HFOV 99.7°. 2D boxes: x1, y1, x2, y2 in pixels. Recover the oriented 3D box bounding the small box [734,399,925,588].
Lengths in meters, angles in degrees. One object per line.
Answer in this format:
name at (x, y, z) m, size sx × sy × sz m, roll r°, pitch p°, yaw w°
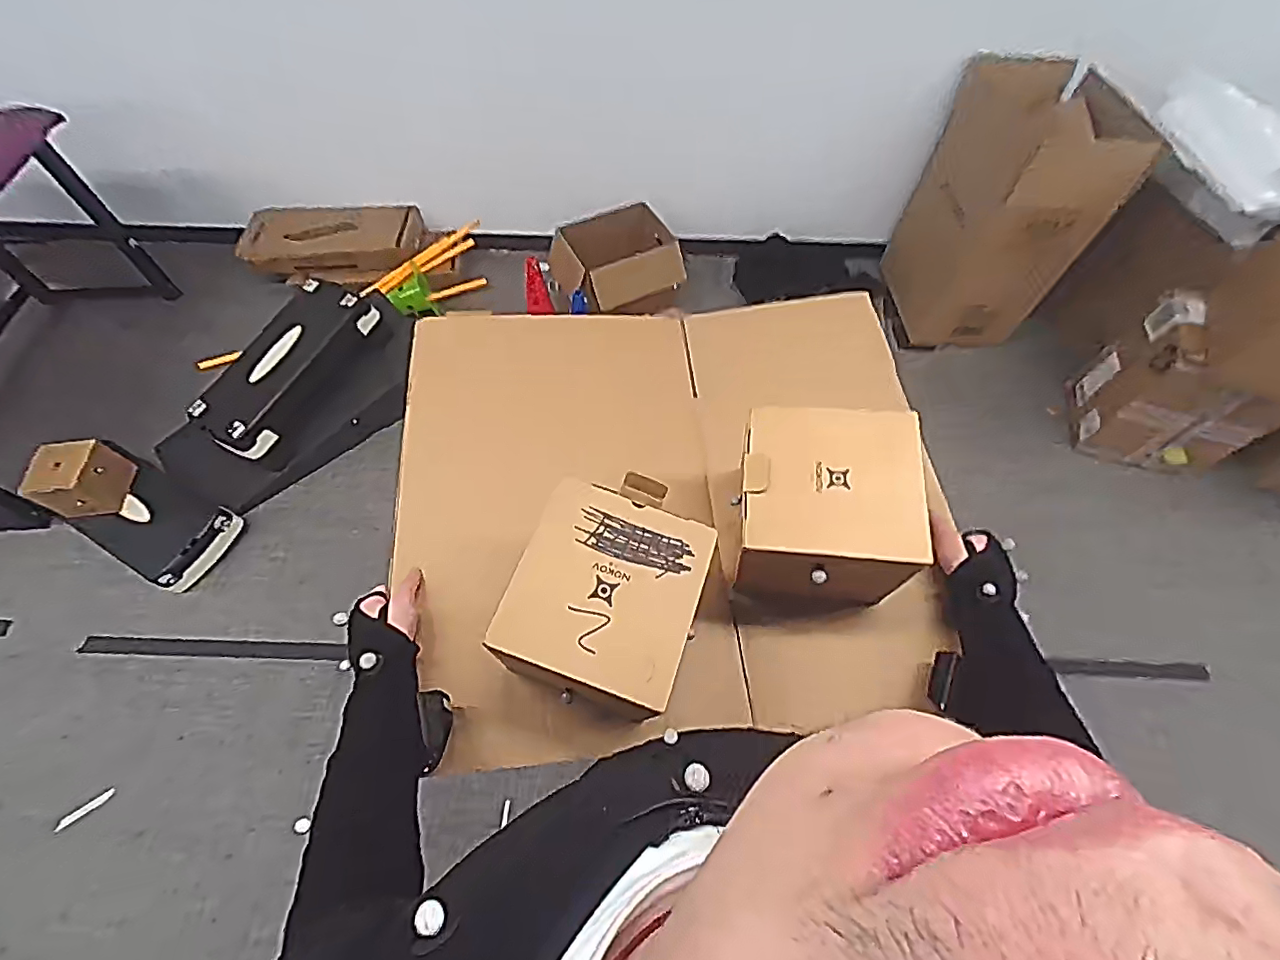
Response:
small box at (0.205, 0.023, 0.629) m, size 0.179 × 0.176 × 0.168 m, roll 3°, pitch 66°, yaw 10°
